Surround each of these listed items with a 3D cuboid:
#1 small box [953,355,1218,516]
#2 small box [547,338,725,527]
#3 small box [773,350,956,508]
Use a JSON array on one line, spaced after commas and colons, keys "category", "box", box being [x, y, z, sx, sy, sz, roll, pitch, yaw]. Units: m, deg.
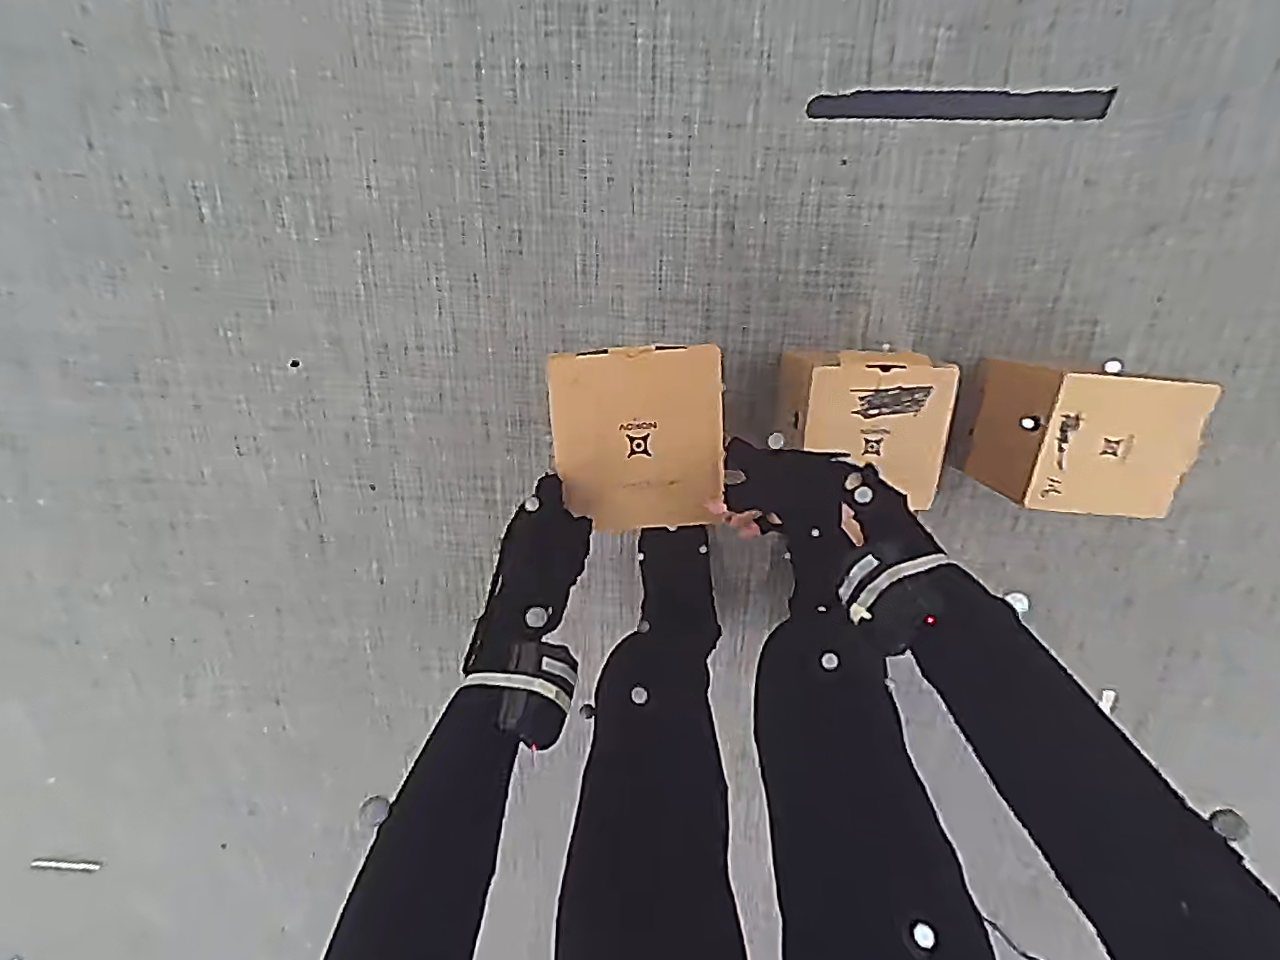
[{"category": "small box", "box": [0.551, -0.066, 0.700, 0.179, 0.176, 0.168, 5, 109, 0]}, {"category": "small box", "box": [-0.002, -0.058, 0.598, 0.168, 0.176, 0.179, -4, 103, 2]}, {"category": "small box", "box": [0.275, -0.076, 0.707, 0.168, 0.176, 0.179, 1, 109, 3]}]
